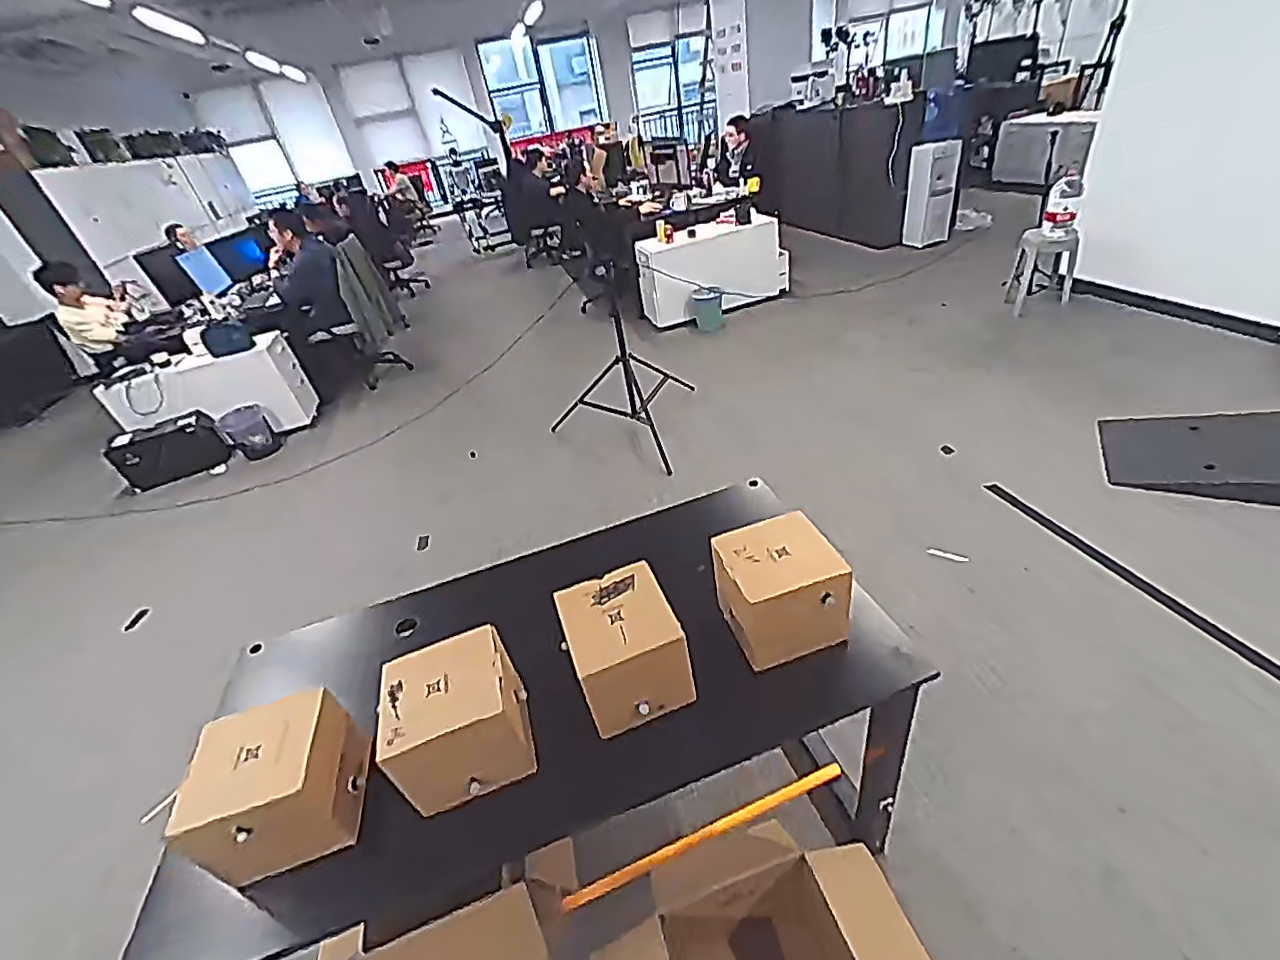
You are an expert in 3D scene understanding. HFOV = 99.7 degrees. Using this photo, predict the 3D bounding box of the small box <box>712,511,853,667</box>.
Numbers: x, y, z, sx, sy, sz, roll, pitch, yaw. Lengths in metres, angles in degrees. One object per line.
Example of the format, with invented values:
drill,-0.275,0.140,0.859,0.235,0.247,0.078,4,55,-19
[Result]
small box,0.237,0.185,0.924,0.179,0.176,0.168,-17,34,-7

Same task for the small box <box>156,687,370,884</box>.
small box,-0.524,0.442,0.784,0.179,0.176,0.168,-17,37,-9

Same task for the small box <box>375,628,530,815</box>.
small box,-0.275,0.364,0.823,0.179,0.176,0.168,-18,35,-11

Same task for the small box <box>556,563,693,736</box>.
small box,-0.025,0.272,0.880,0.168,0.176,0.179,-19,36,-10
